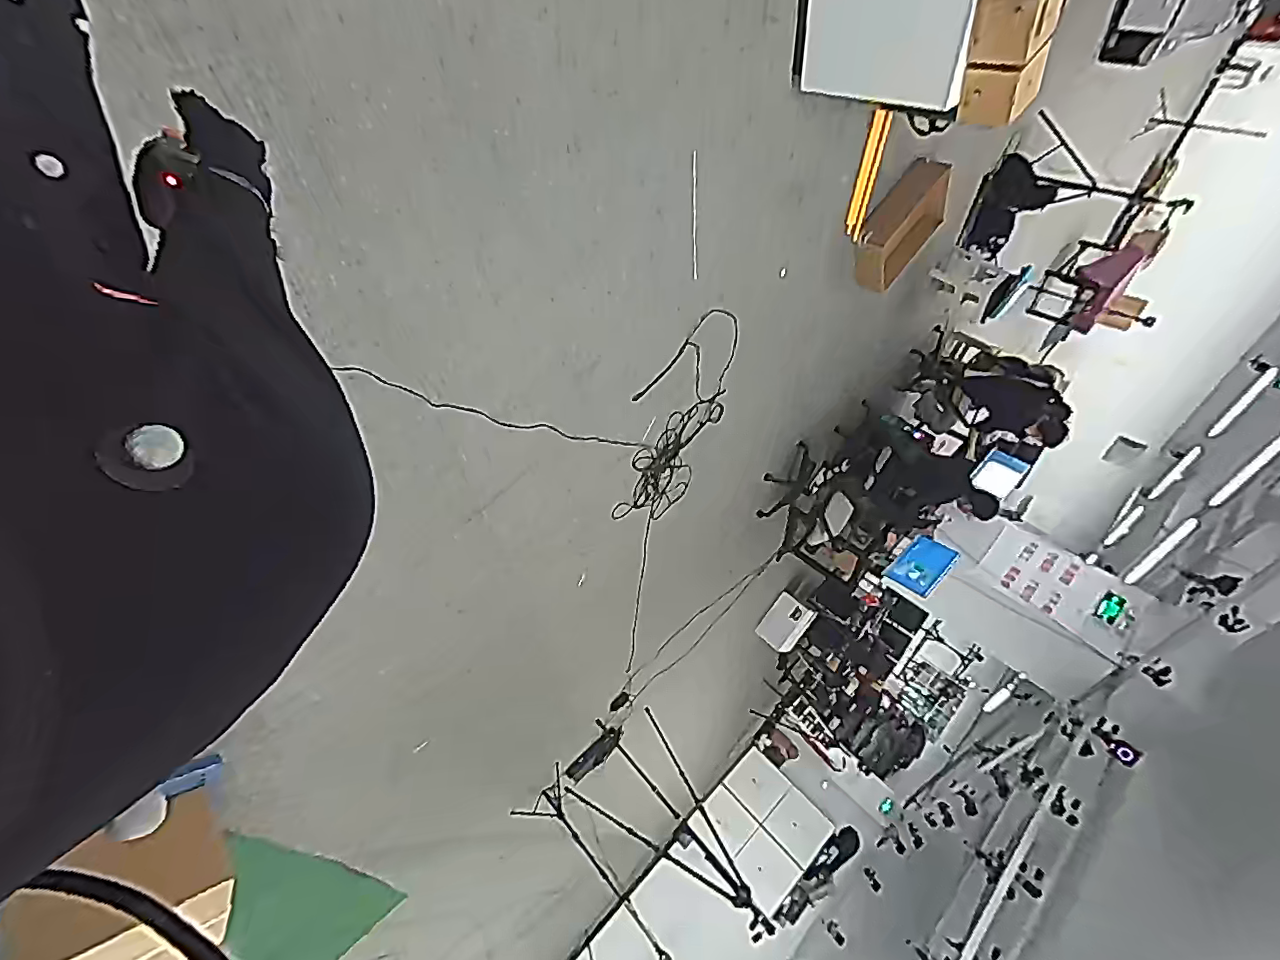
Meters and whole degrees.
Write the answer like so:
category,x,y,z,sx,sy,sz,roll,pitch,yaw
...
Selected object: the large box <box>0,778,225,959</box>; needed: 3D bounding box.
category,x,y,z,sx,sy,sz,roll,pitch,yaw
large box,-1.381,1.082,1.415,0.408,0.320,0.320,-3,125,-51
